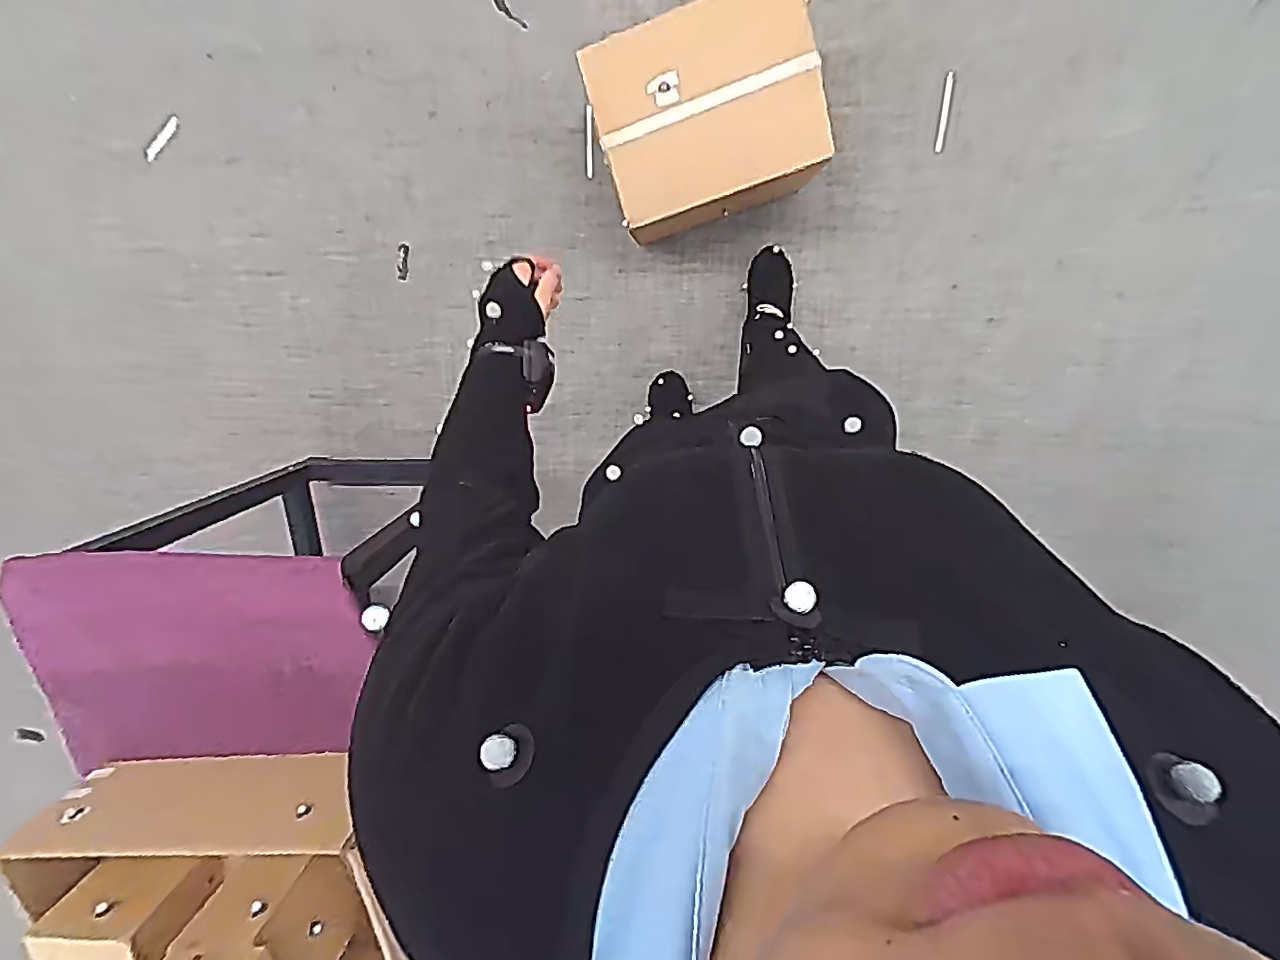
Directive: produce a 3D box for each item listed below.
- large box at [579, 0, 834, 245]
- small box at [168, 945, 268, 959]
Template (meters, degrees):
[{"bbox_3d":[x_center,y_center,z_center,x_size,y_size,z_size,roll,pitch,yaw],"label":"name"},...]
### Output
[{"bbox_3d":[0.136,-0.722,1.118,0.408,0.320,0.320,-16,105,11],"label":"large box"},{"bbox_3d":[-0.615,0.795,0.745,0.168,0.176,0.179,-9,105,10],"label":"small box"}]
